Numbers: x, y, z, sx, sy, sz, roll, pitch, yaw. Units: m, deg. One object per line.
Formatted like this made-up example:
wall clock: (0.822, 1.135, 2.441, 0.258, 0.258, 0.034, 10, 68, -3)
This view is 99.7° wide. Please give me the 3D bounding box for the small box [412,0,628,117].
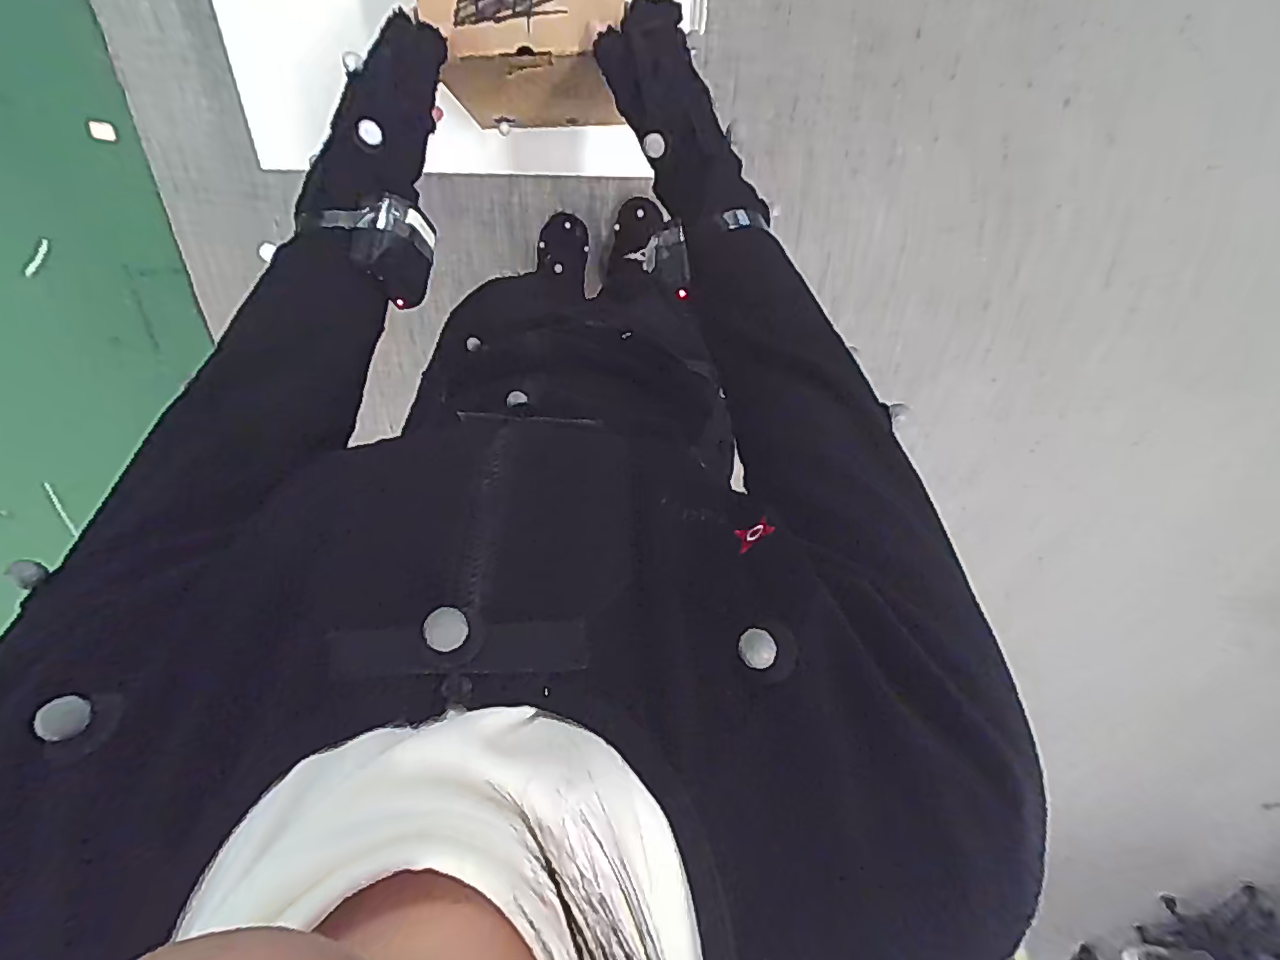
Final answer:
small box: (-0.098, -0.452, 0.489, 0.168, 0.176, 0.179, -1, 103, 1)
